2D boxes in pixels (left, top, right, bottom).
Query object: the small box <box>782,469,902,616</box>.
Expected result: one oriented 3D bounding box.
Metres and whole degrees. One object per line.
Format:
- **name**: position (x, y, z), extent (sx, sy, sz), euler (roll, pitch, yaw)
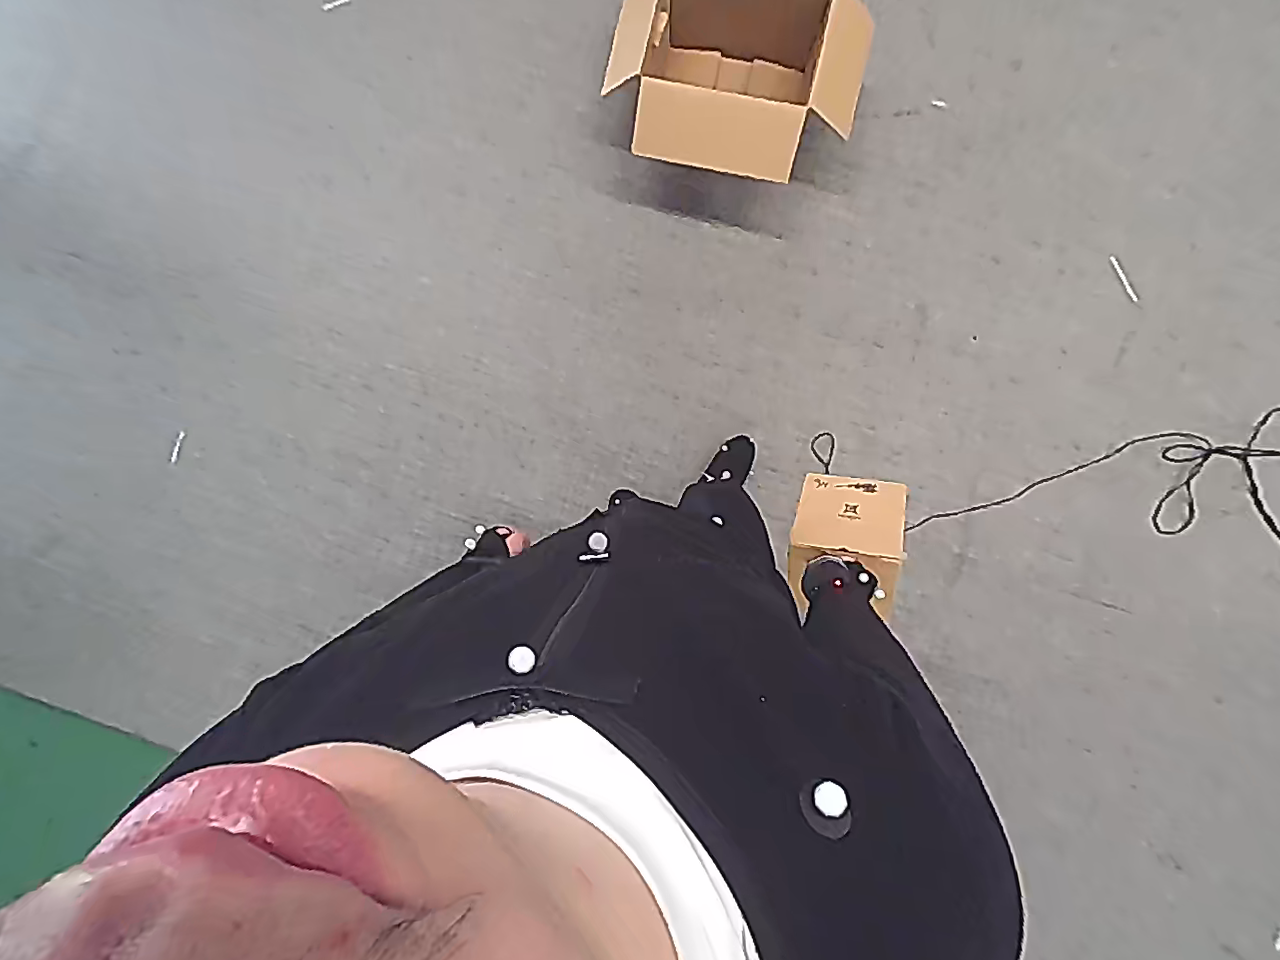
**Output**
- **small box**: position (0.347, 0.108, 0.932), extent (0.168, 0.179, 0.176), euler (8, 135, 23)
